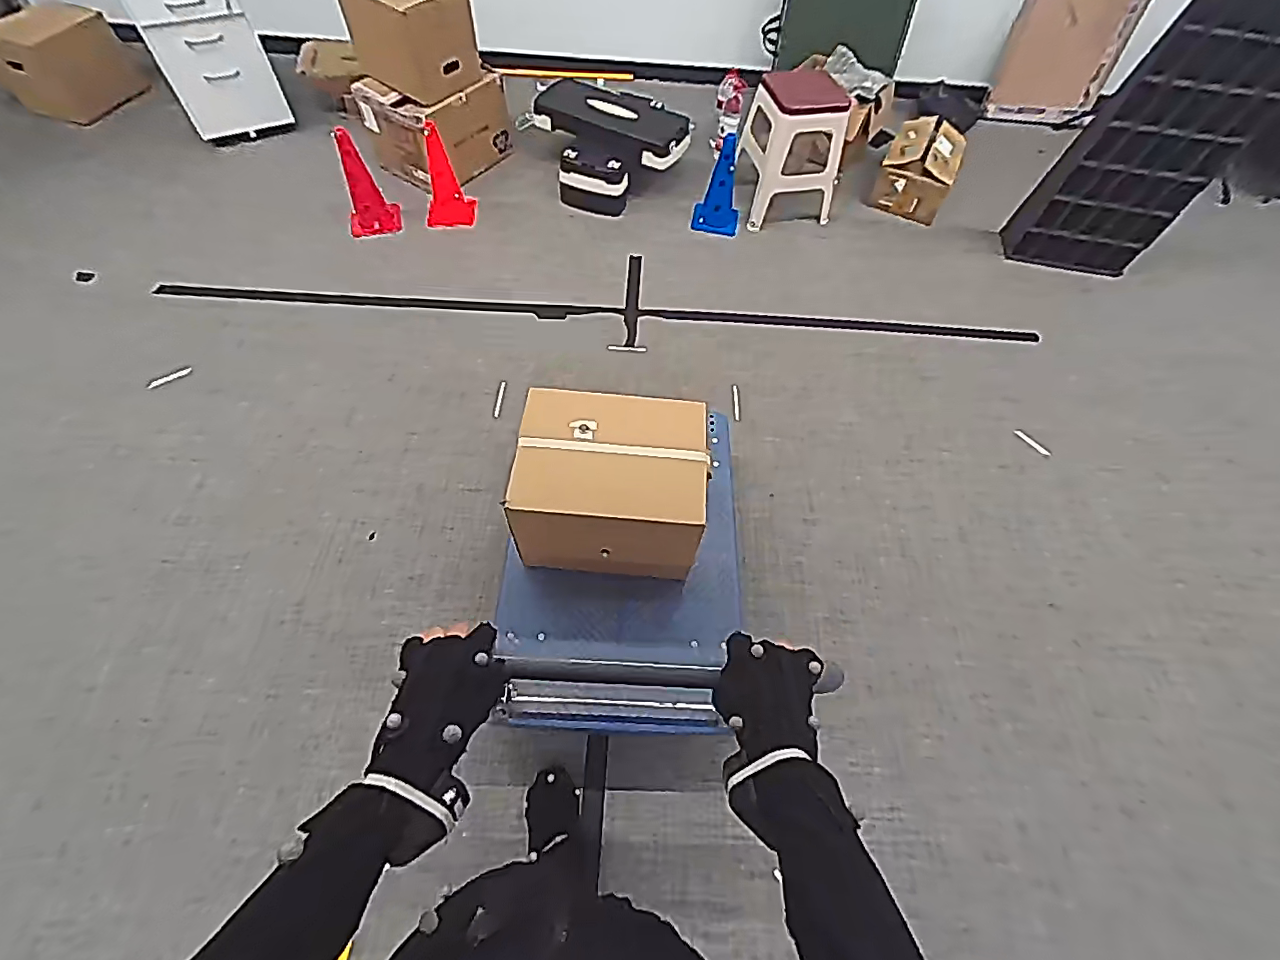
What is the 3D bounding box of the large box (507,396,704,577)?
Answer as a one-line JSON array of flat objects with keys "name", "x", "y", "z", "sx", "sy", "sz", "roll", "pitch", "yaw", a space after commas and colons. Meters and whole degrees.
[{"name": "large box", "x": -0.066, "y": 0.027, "z": 1.289, "sx": 0.408, "sy": 0.320, "sz": 0.320, "roll": 5, "pitch": 59, "yaw": 0}]
